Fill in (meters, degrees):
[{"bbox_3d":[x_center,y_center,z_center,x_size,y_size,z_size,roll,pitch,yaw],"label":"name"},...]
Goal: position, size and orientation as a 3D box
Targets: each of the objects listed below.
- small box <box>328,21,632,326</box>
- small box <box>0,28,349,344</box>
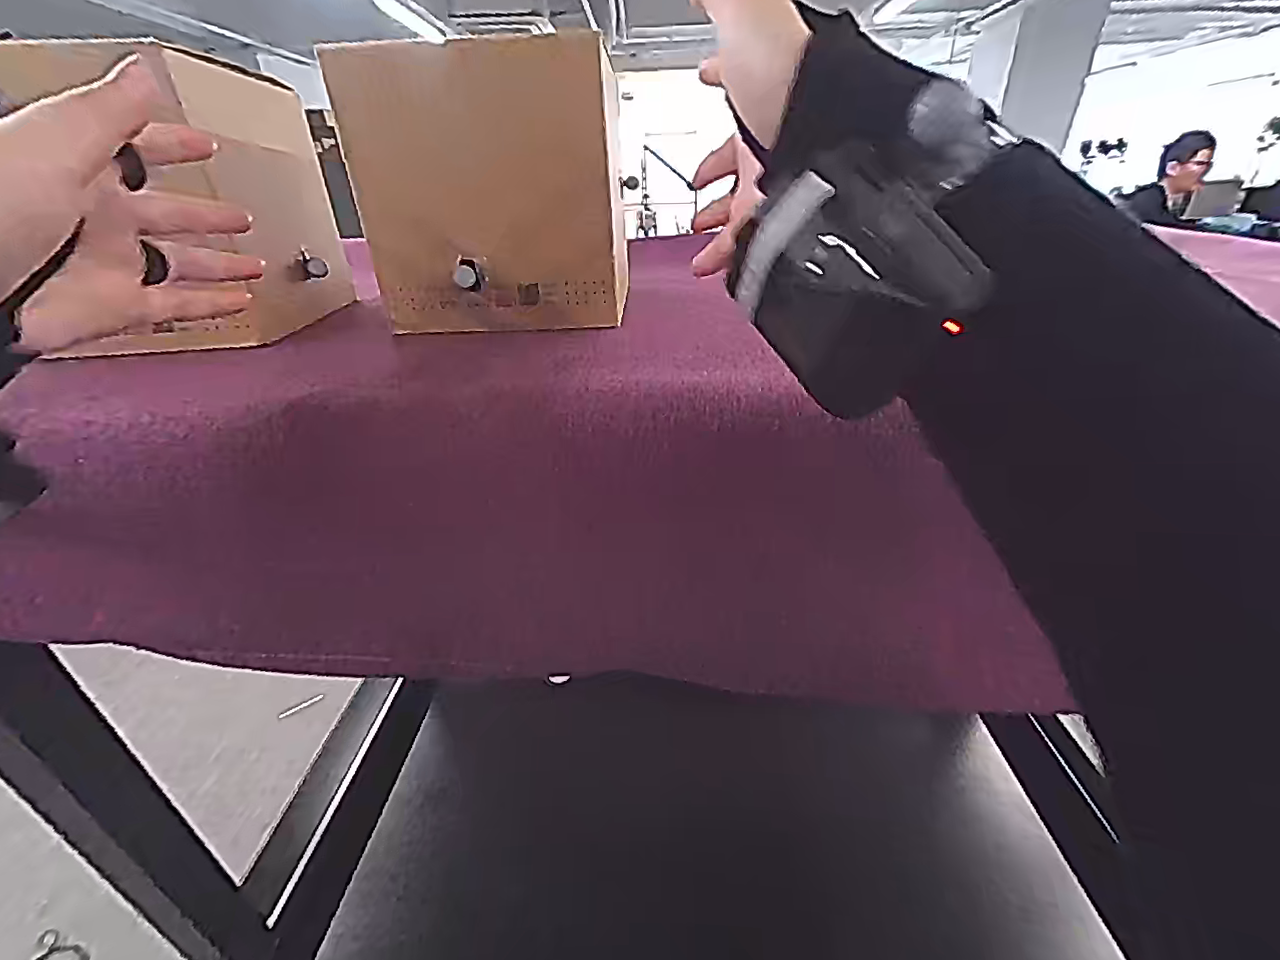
[{"bbox_3d":[-0.094,-0.221,0.416,0.168,0.176,0.179,-2,29,3],"label":"small box"},{"bbox_3d":[-0.339,-0.202,0.396,0.168,0.176,0.179,-5,28,-4],"label":"small box"}]
